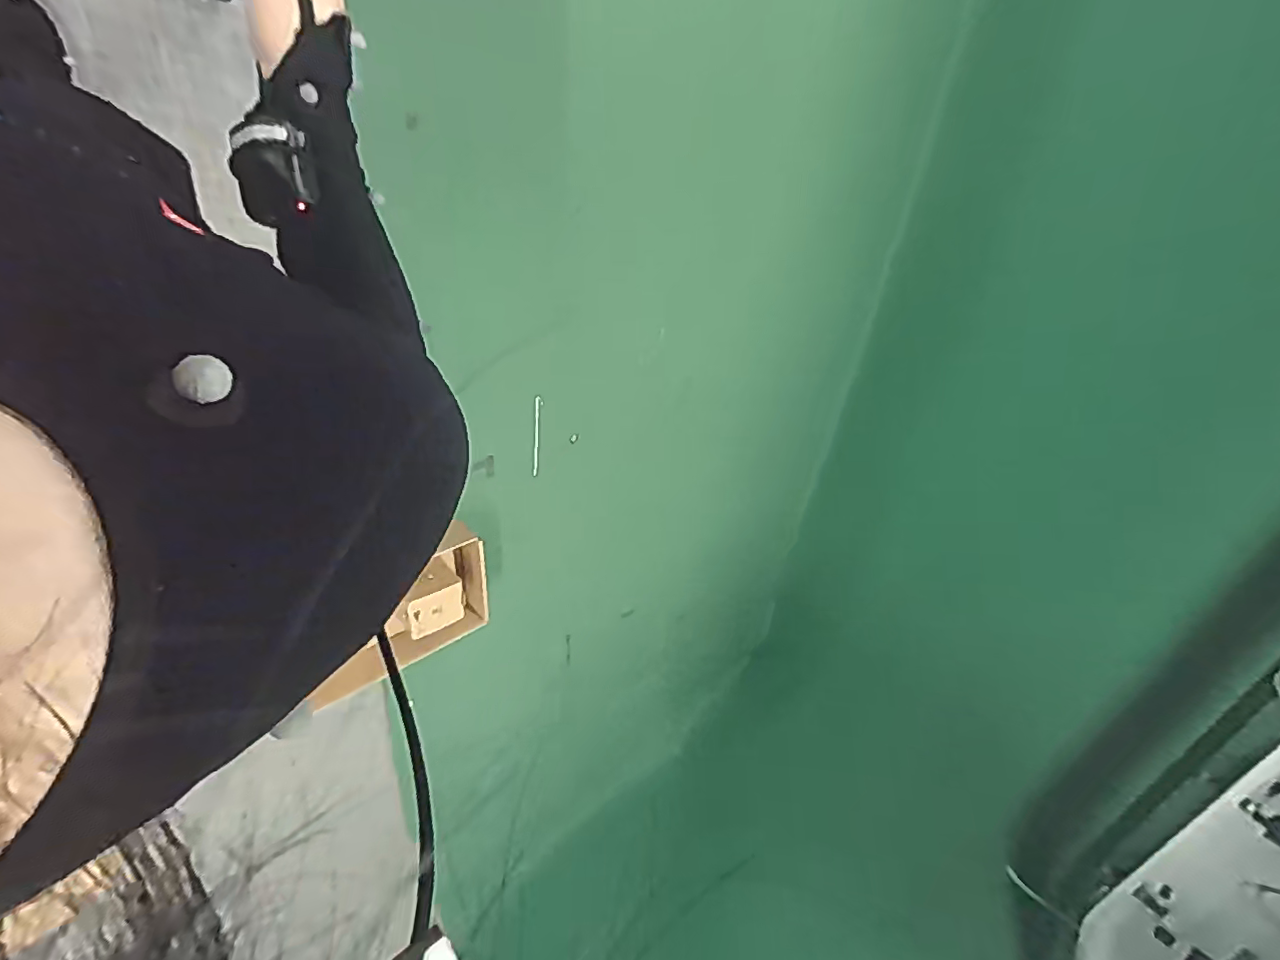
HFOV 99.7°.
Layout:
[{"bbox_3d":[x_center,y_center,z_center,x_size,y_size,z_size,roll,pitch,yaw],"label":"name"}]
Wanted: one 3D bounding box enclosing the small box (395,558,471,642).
[{"bbox_3d":[-0.673,0.382,1.762,0.179,0.176,0.168,-21,131,-38],"label":"small box"}]
